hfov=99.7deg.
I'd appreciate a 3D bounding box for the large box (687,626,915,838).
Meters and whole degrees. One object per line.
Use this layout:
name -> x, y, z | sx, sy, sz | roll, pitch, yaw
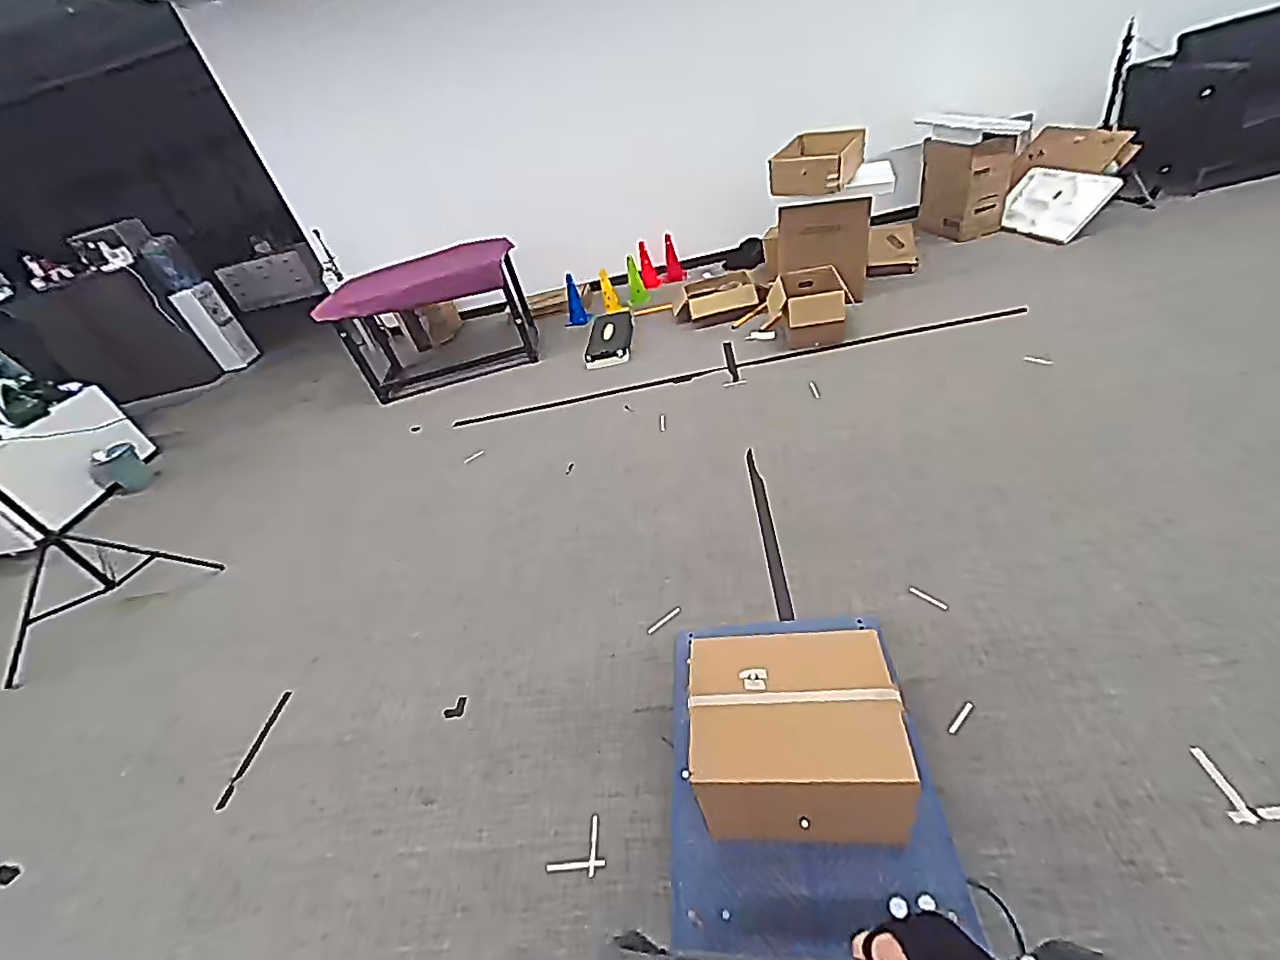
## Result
large box -> 0.328, 0.549, 1.167 | 0.408, 0.320, 0.320 | -8, 37, 13
